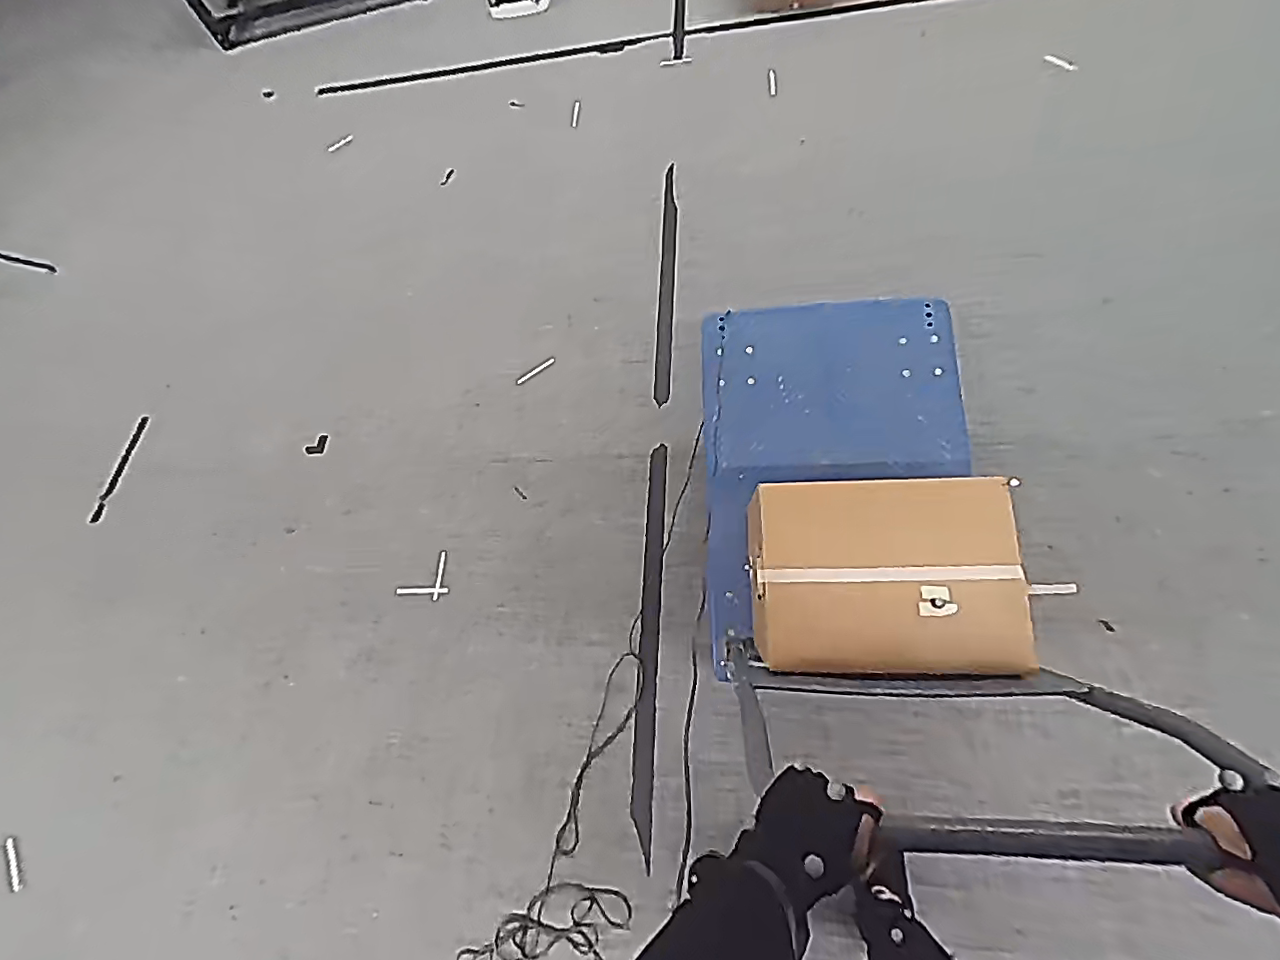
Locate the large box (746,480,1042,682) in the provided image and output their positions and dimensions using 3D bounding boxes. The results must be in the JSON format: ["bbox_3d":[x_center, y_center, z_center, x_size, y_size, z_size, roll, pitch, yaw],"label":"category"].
[{"bbox_3d":[0.421,0.190,1.007,0.408,0.320,0.320,-2,78,6],"label":"large box"}]
